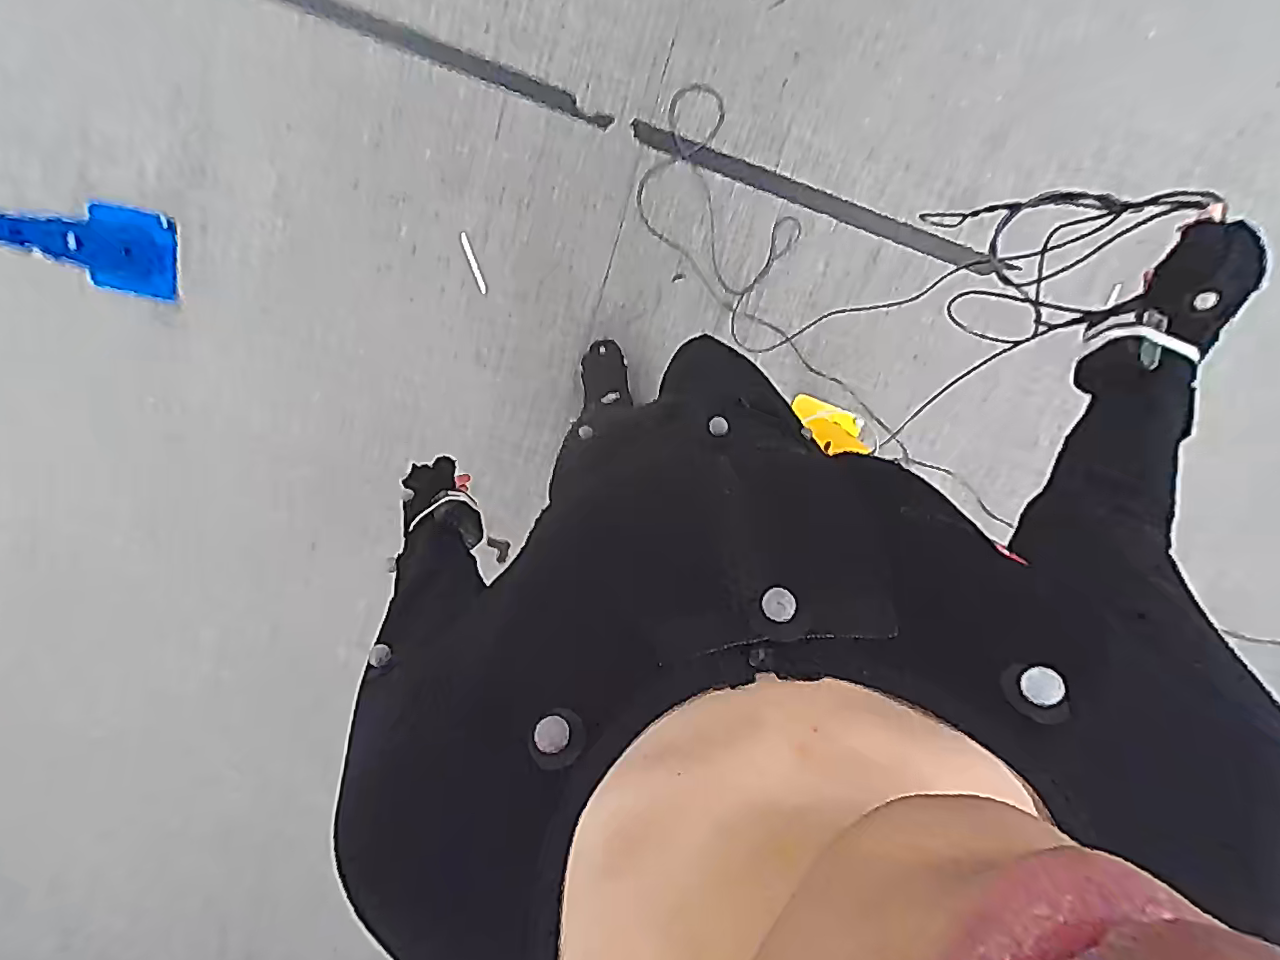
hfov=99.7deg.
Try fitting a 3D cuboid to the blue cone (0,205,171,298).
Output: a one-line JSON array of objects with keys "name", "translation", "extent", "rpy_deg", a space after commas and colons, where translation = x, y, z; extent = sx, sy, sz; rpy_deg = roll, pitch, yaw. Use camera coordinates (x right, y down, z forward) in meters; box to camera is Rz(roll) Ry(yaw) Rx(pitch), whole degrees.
[{"name": "blue cone", "translation": [-1.220, -0.508, 1.137], "extent": [0.193, 0.380, 0.192], "rpy_deg": [12, 103, -4]}]
